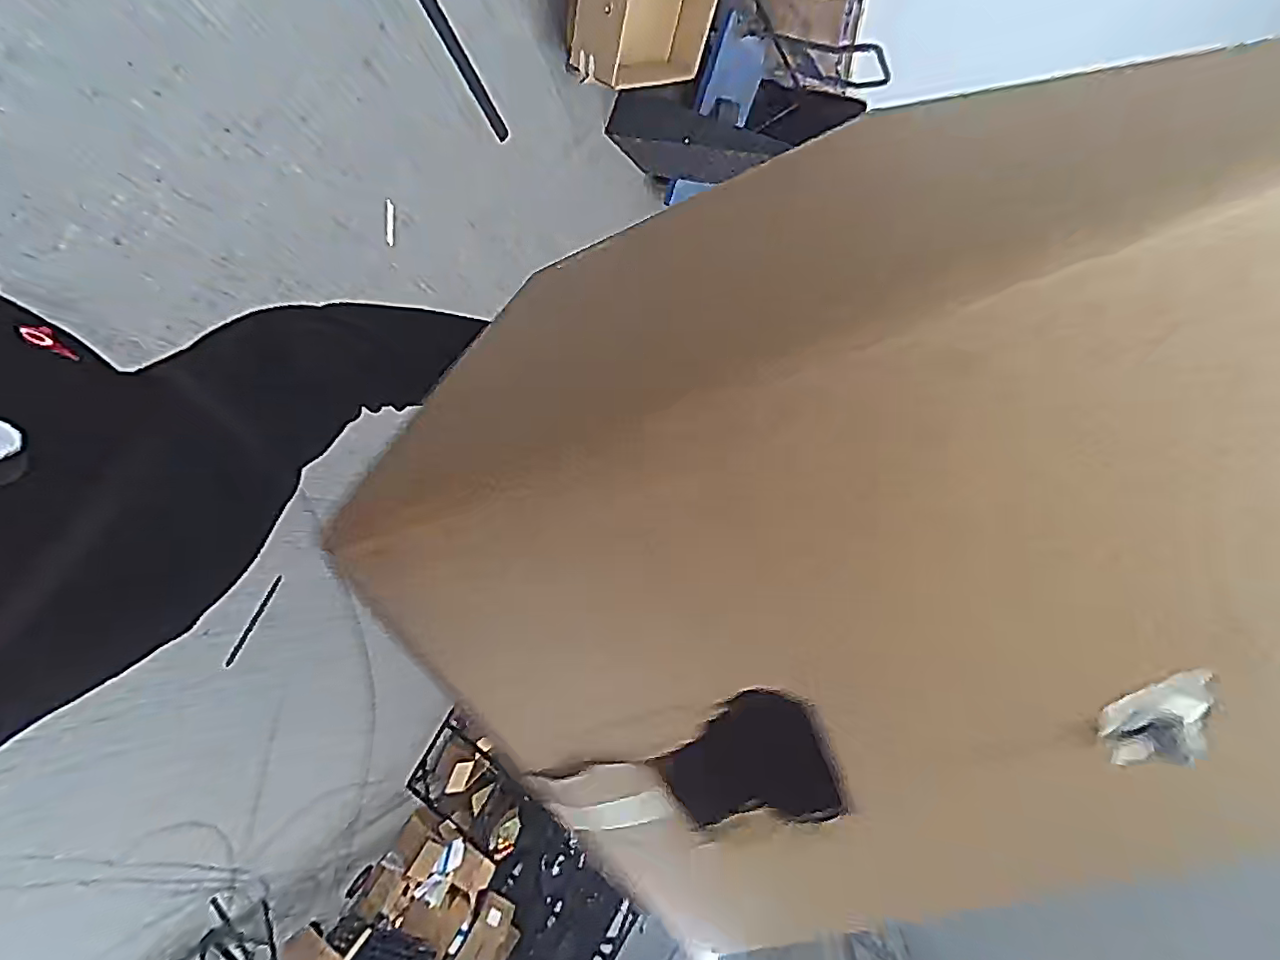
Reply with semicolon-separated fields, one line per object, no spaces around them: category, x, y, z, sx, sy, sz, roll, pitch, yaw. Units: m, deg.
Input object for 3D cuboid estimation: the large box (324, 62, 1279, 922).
large box;0.103;-0.017;0.370;0.408;0.320;0.320;-87;156;-59
